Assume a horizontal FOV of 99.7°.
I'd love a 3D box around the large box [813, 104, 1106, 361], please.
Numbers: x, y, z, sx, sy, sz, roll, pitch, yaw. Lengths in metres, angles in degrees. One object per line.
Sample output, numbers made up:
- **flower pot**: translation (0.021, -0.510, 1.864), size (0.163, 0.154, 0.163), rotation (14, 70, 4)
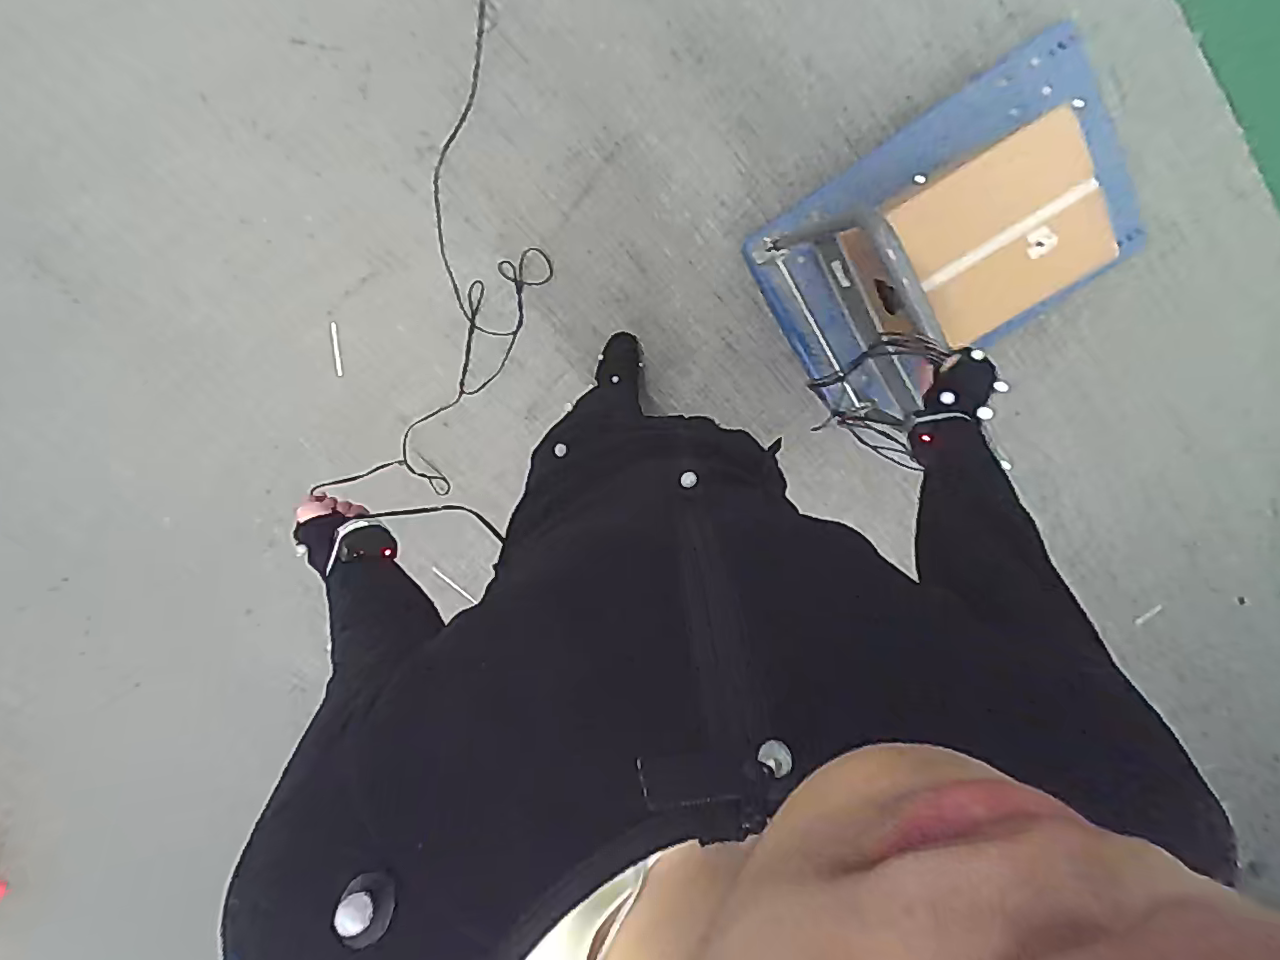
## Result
- **large box**: translation (0.670, -0.505, 1.193), size (0.408, 0.320, 0.320), rotation (-31, 106, 5)
